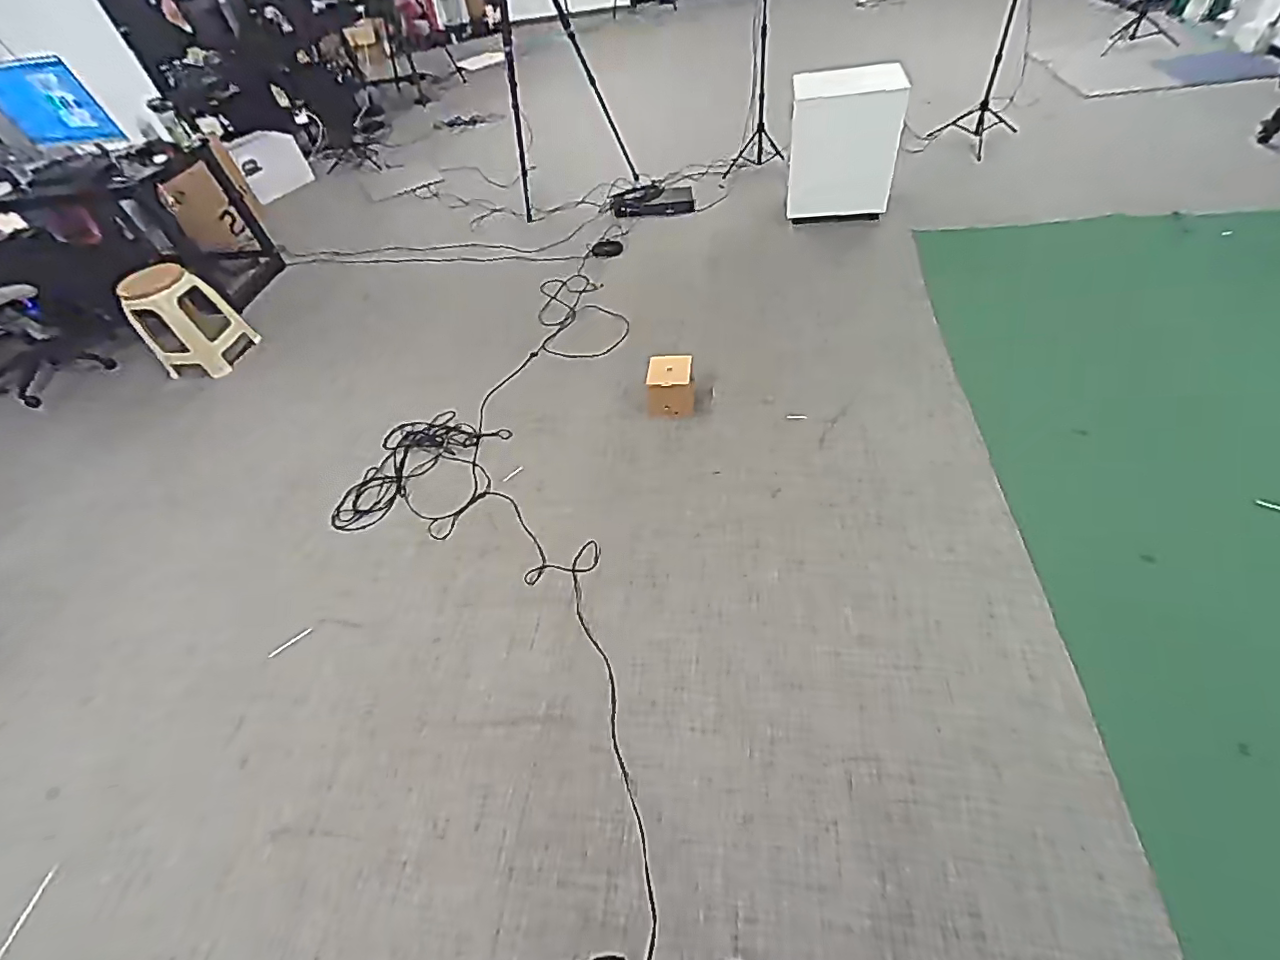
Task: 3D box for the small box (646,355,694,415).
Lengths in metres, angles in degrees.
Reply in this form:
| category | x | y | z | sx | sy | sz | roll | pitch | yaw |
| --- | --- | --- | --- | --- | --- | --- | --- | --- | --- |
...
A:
| category | x | y | z | sx | sy | sz | roll | pitch | yaw |
| --- | --- | --- | --- | --- | --- | --- | --- | --- | --- |
| small box | 0.124 | -0.375 | 2.138 | 0.168 | 0.176 | 0.179 | 0 | 50 | 11 |
